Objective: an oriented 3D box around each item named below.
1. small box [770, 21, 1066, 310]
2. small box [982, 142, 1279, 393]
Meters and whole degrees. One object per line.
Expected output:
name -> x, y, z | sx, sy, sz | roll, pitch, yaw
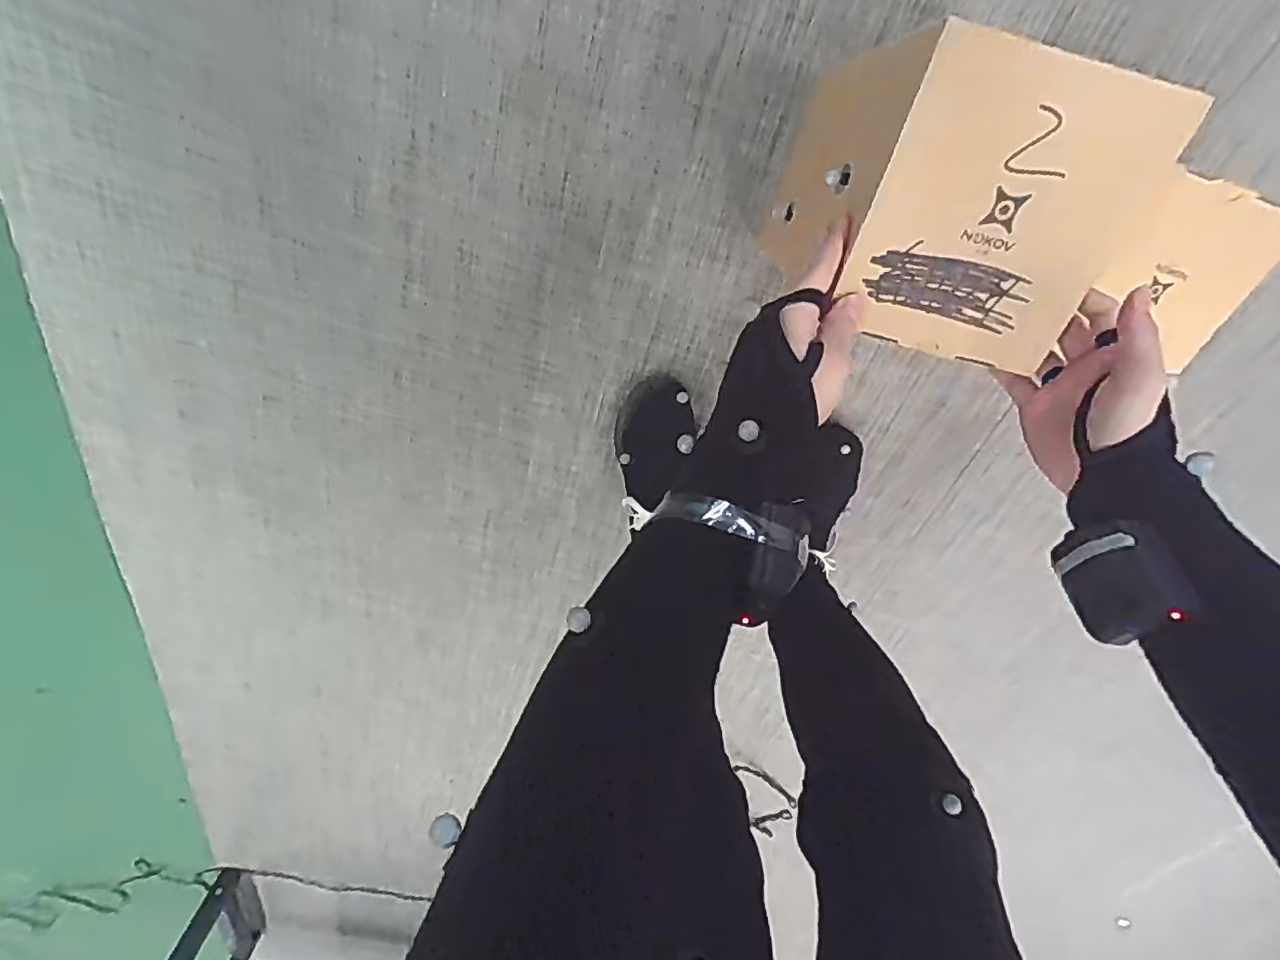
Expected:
small box -> 0.239, -0.296, 0.525 | 0.168, 0.176, 0.179 | 17, 123, -7
small box -> 0.494, -0.222, 0.554 | 0.168, 0.176, 0.179 | 17, 123, -6
